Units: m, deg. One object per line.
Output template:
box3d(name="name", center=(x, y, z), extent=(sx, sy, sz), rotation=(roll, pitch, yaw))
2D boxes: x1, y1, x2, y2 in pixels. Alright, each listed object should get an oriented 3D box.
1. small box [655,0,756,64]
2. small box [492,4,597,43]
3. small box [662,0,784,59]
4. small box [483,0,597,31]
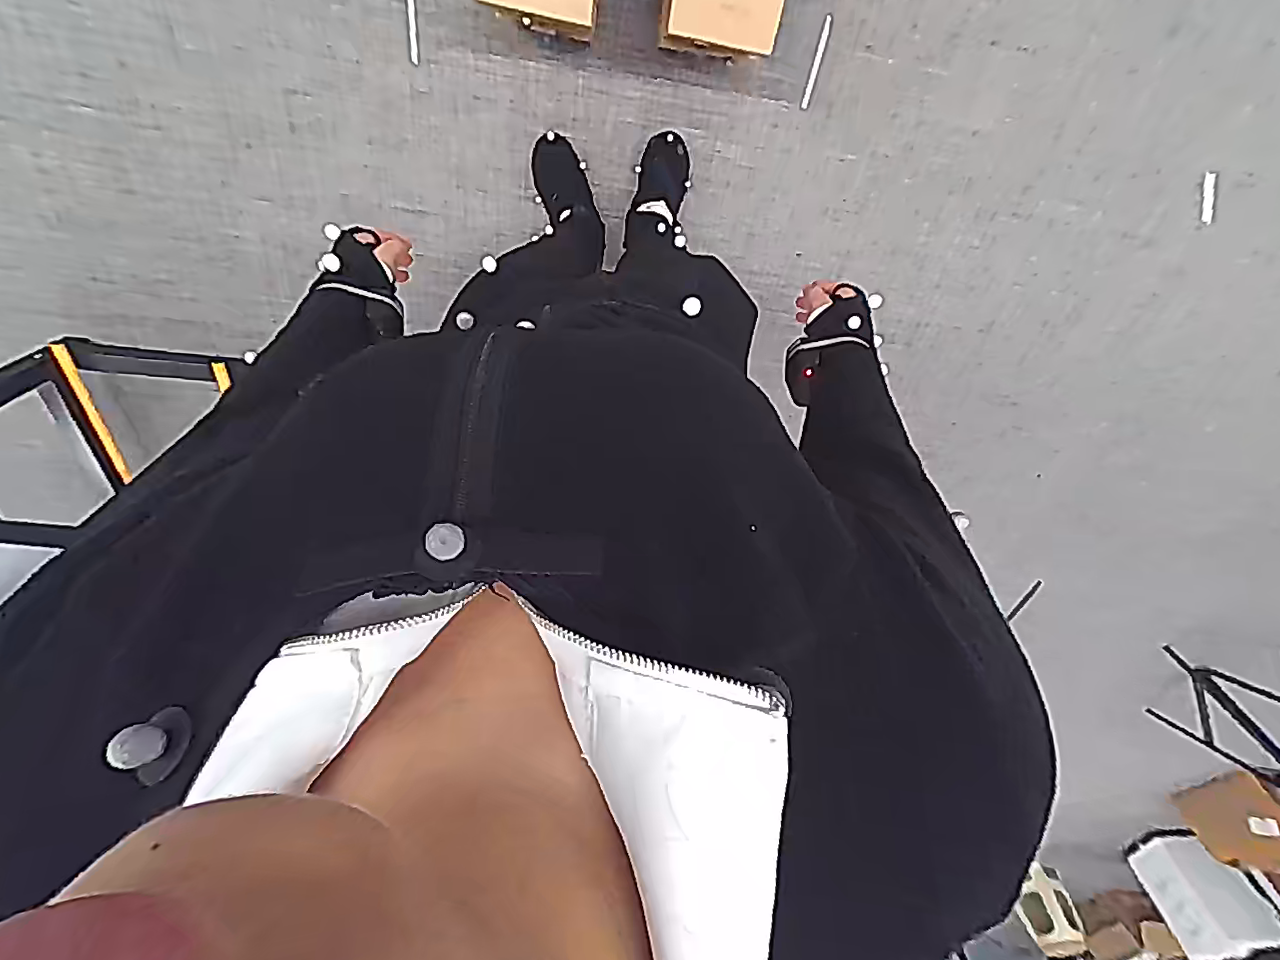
box3d(name="small box", center=(0.129, -0.865, 0.967), extent=(0.179, 0.176, 0.168), rotation=(5, 127, -7))
box3d(name="small box", center=(-0.156, -0.888, 0.938), extent=(0.168, 0.176, 0.179), rotation=(8, 128, -8))
box3d(name="small box", center=(0.131, -0.774, 0.832), extent=(0.168, 0.176, 0.179), rotation=(7, 128, -7))
box3d(name="small box", center=(-0.148, -0.791, 0.803), extent=(0.179, 0.176, 0.168), rotation=(7, 127, -8))
